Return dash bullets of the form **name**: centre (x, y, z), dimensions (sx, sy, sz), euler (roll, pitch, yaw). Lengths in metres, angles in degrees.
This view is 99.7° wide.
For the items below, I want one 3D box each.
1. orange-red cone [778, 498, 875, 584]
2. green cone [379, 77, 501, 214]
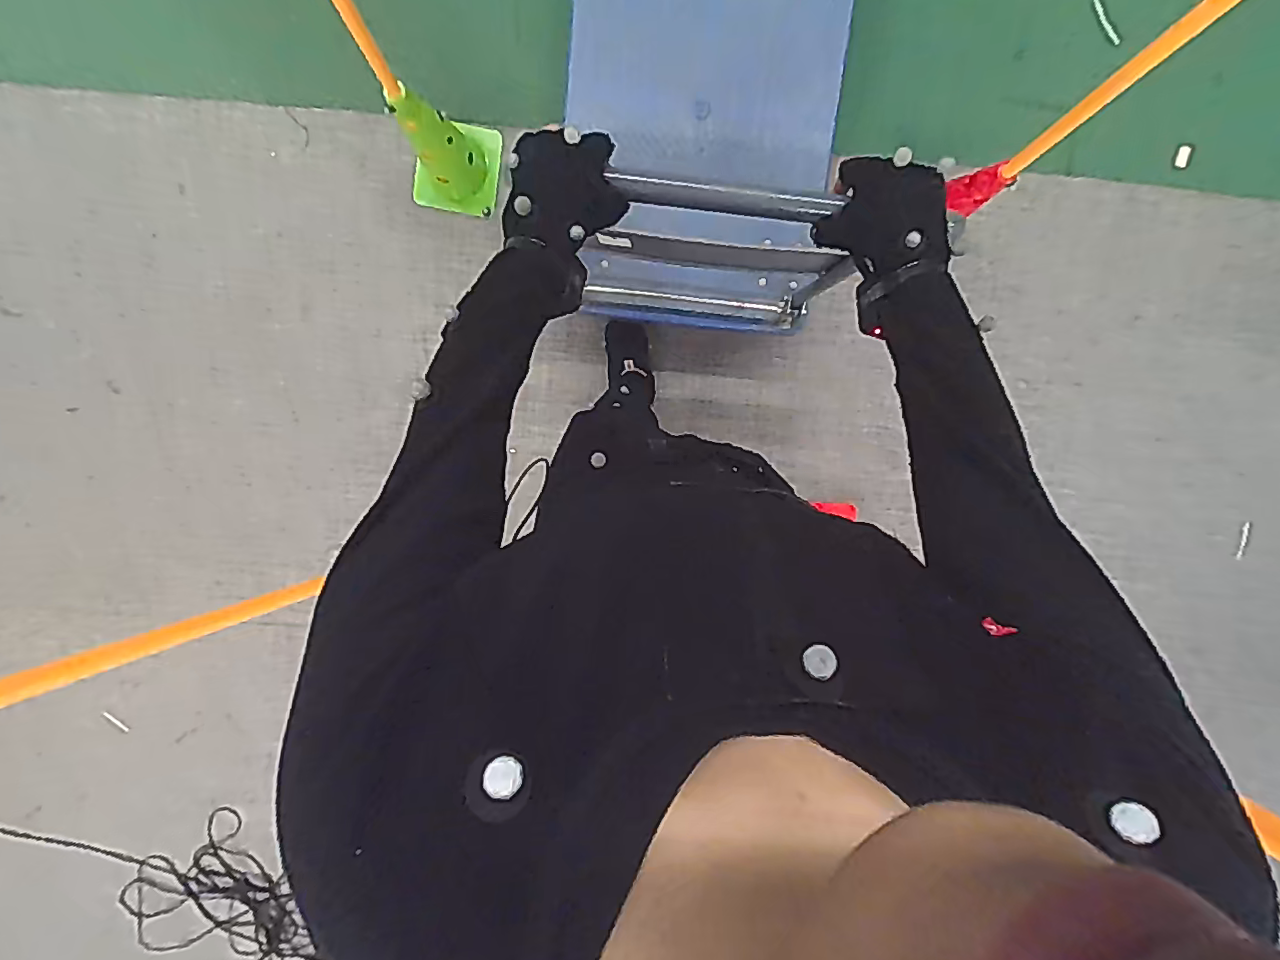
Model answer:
- **orange-red cone**: centre (0.485, 0.178, 1.325), dimensions (0.199, 0.360, 0.198), euler (4, 99, 1)
- **green cone**: centre (-0.448, -0.740, 1.153), dimensions (0.202, 0.368, 0.200), euler (9, 99, -1)
